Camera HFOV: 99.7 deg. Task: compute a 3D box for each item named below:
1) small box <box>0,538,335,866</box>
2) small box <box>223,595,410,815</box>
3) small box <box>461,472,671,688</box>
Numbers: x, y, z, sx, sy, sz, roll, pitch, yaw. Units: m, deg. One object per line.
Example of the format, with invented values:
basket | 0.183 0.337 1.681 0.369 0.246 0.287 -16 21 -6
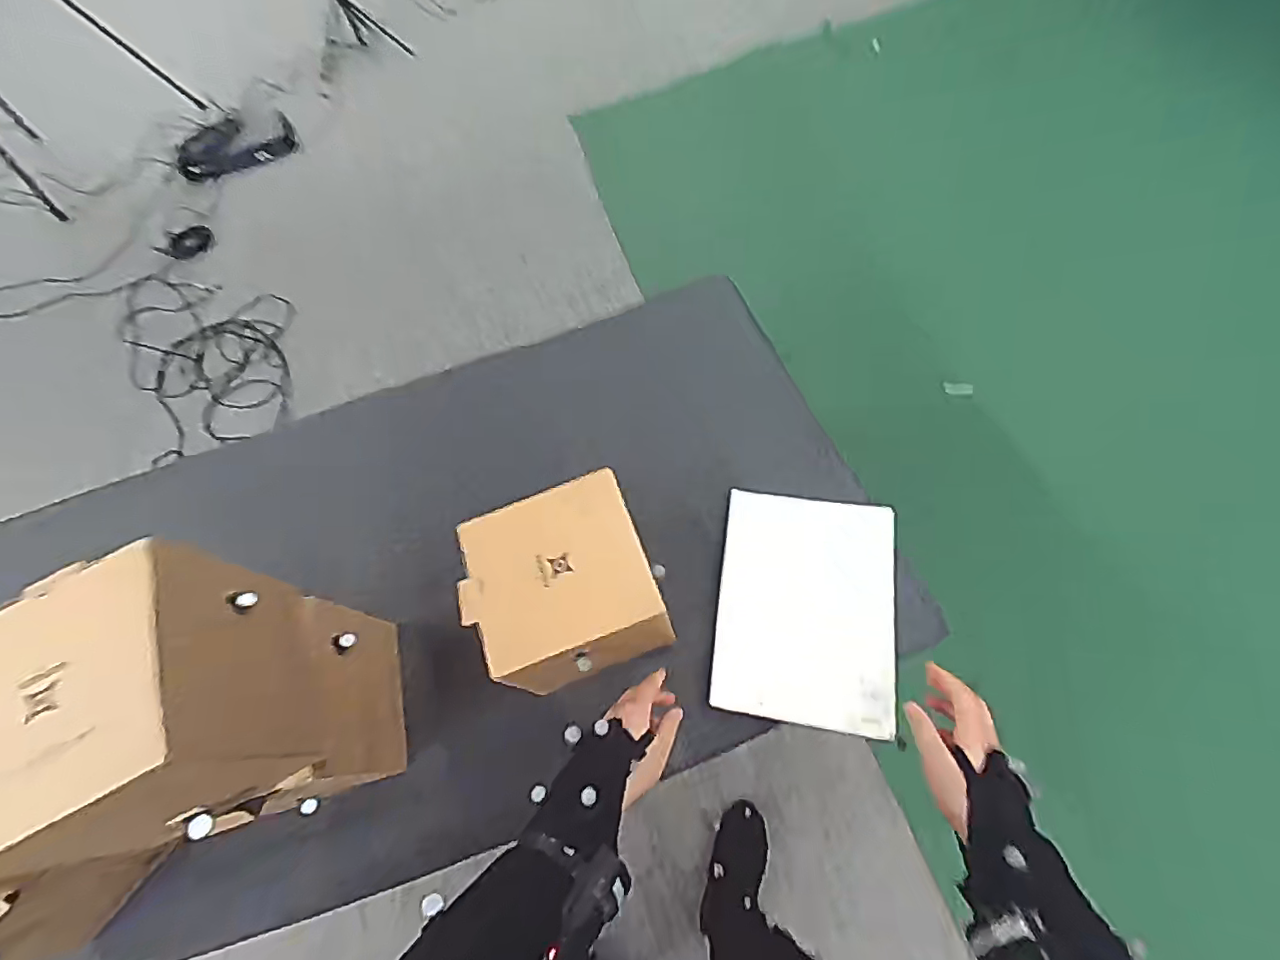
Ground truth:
small box | -0.392 0.181 0.447 0.168 0.176 0.179 -29 65 -4
small box | -0.375 0.249 0.593 0.168 0.176 0.179 -18 64 0
small box | -0.072 0.120 0.610 0.179 0.176 0.168 -22 63 -1
